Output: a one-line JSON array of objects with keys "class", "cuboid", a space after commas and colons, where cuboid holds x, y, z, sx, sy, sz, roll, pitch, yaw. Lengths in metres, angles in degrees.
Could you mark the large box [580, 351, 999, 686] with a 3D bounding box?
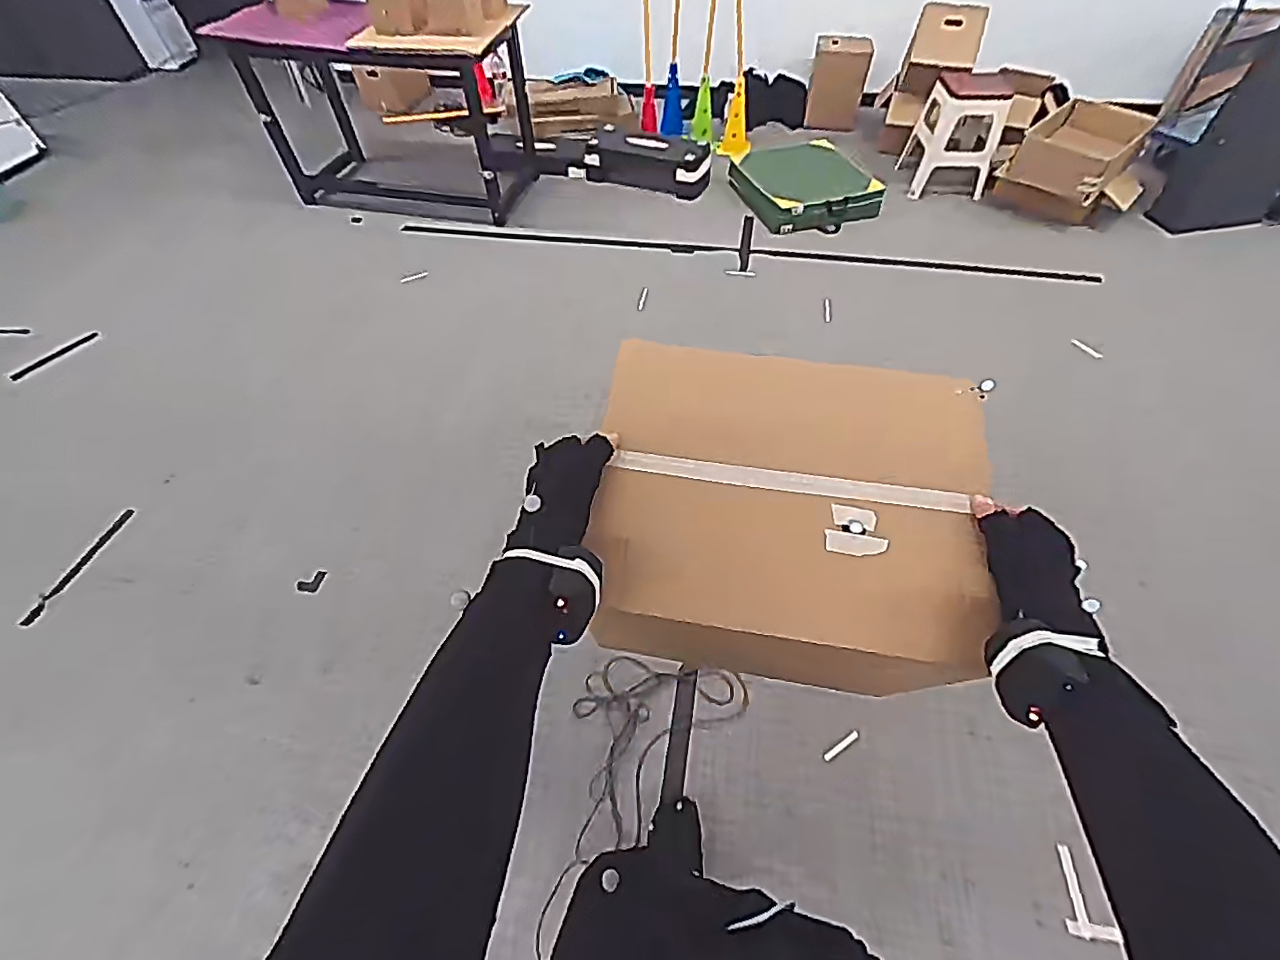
[{"class": "large box", "cuboid": [0.162, 0.066, 0.709, 0.408, 0.320, 0.320, 8, 66, 6]}]
